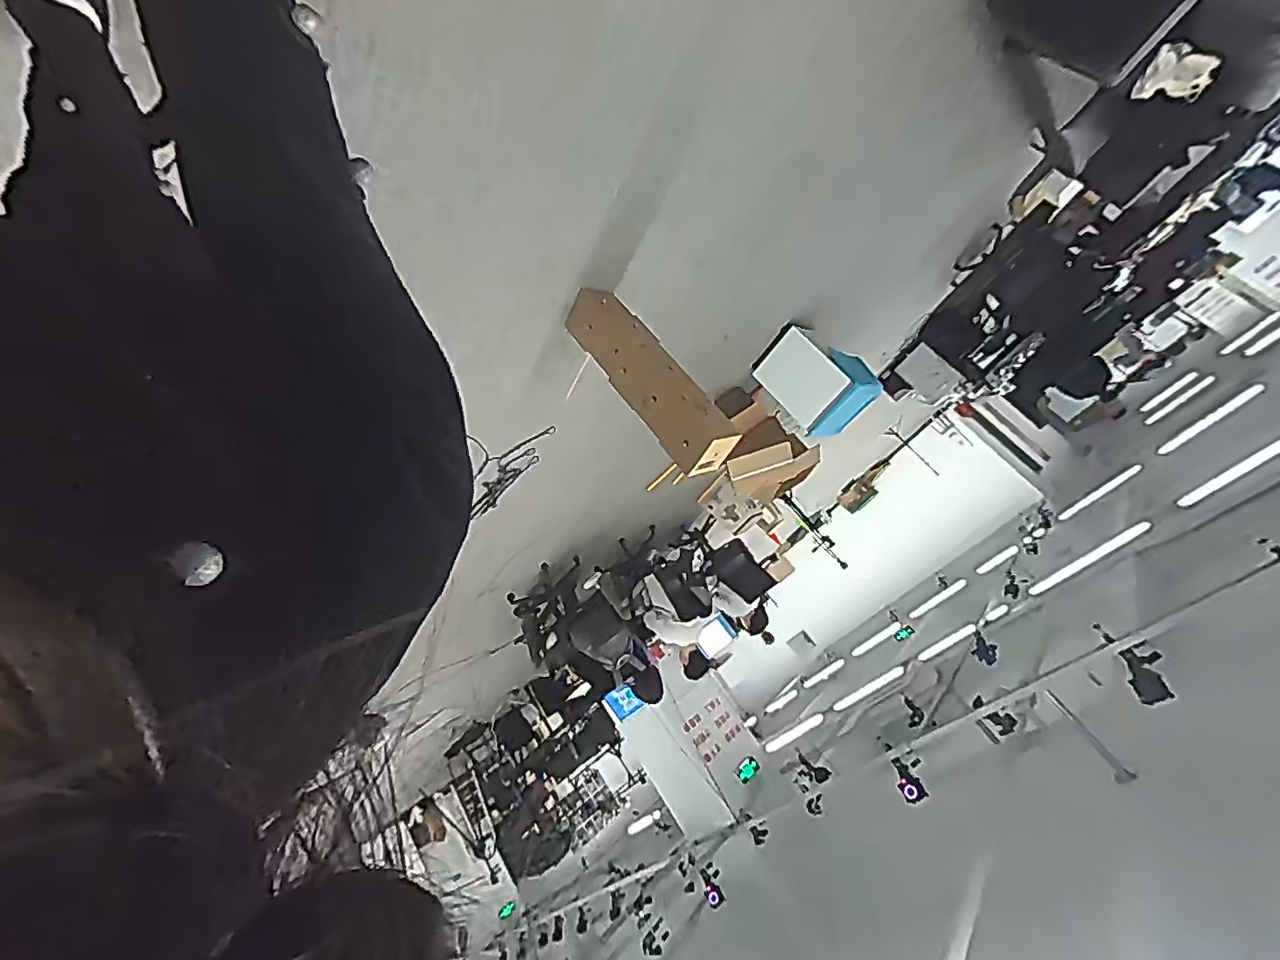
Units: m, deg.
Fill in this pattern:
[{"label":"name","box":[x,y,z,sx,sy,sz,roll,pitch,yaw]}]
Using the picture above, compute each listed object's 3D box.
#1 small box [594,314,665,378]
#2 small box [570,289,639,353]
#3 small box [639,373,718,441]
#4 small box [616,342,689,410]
[{"label":"small box","box":[-0.044,-0.503,2.028,0.168,0.176,0.179,-13,147,-46]},{"label":"small box","box":[-0.144,-0.616,2.093,0.168,0.176,0.179,-14,149,-46]},{"label":"small box","box":[0.132,-0.262,1.895,0.179,0.176,0.168,-14,147,-44]},{"label":"small box","box":[0.038,-0.378,1.960,0.168,0.176,0.179,-15,149,-45]}]
